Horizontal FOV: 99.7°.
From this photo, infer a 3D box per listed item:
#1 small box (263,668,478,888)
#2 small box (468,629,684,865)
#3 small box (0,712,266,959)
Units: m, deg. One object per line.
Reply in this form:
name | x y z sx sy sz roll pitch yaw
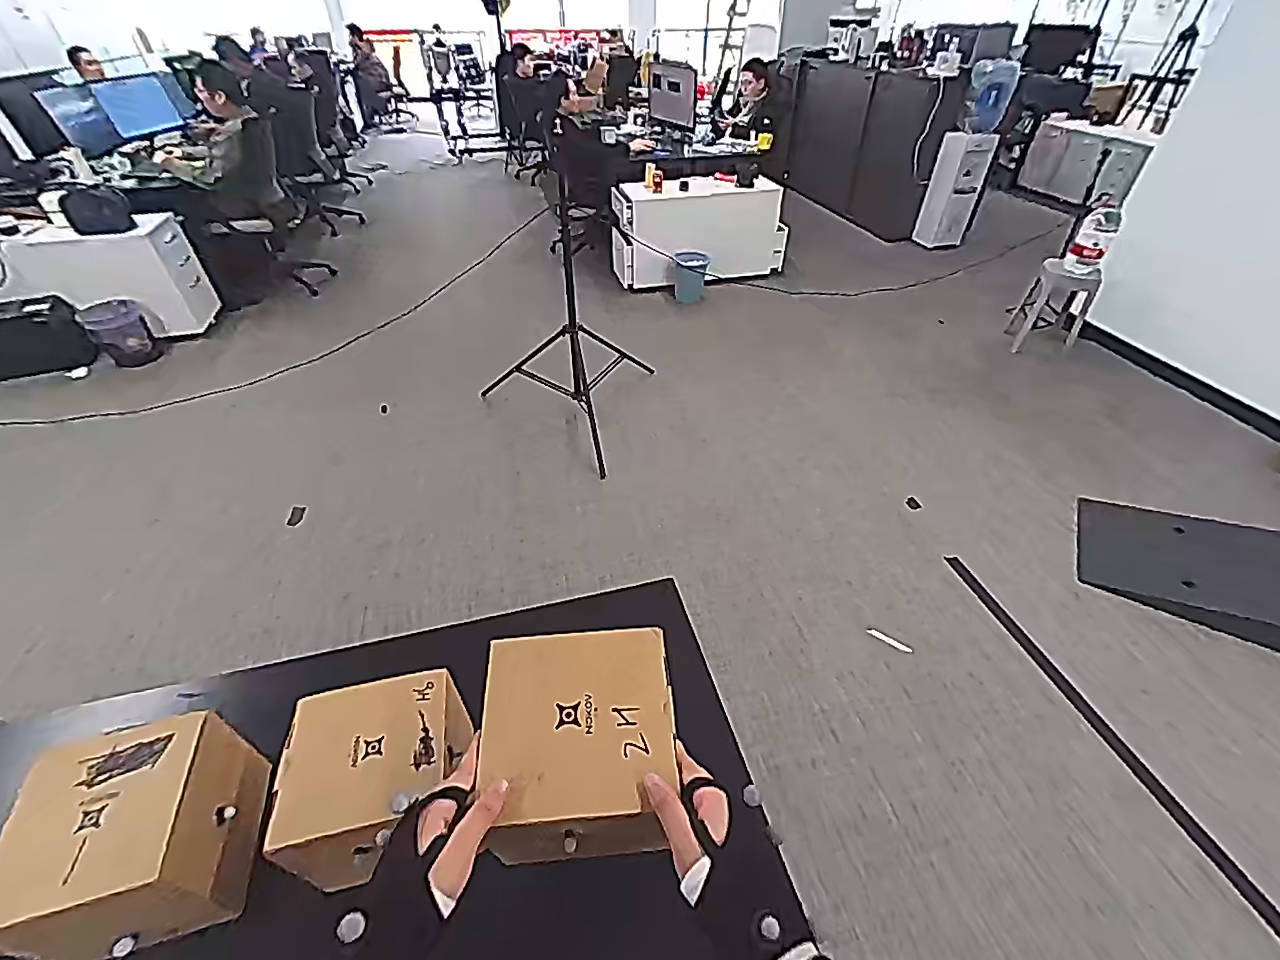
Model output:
small box | -0.303 0.360 0.654 0.179 0.176 0.168 -9 42 -10
small box | -0.055 0.268 0.539 0.179 0.176 0.168 -3 48 -3
small box | -0.556 0.399 0.608 0.168 0.176 0.179 -11 43 -12
